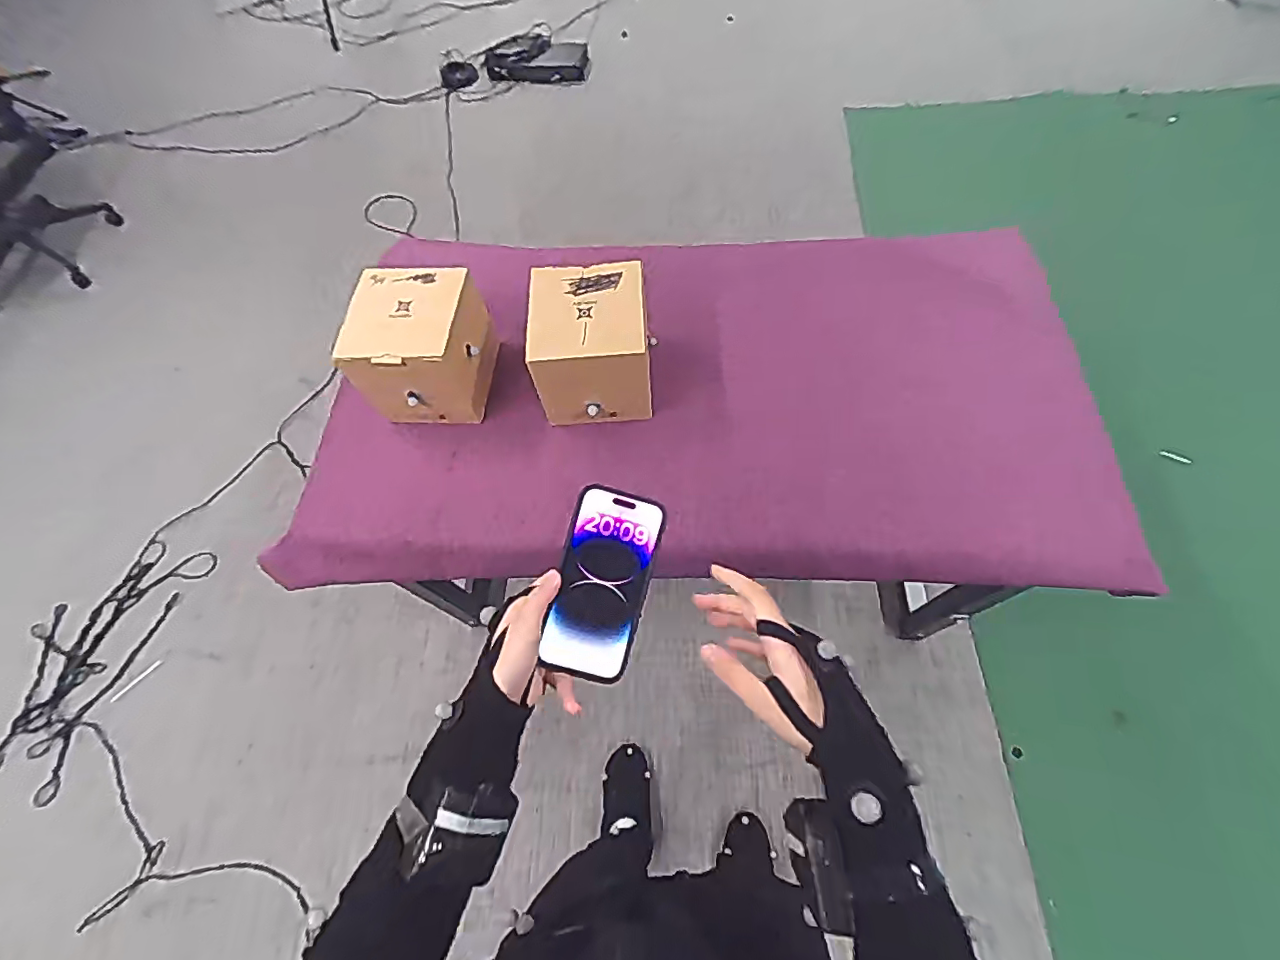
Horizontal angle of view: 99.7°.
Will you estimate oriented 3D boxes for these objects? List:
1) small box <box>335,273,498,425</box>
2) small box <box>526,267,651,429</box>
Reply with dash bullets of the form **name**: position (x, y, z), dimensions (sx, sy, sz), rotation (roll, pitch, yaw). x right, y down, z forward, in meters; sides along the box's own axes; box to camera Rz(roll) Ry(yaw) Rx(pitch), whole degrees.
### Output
- **small box**: position (-0.338, -0.200, 0.859), dimensions (0.168, 0.176, 0.179), rotation (1, 64, 5)
- **small box**: position (-0.071, -0.199, 0.837), dimensions (0.168, 0.176, 0.179), rotation (-4, 63, 3)
